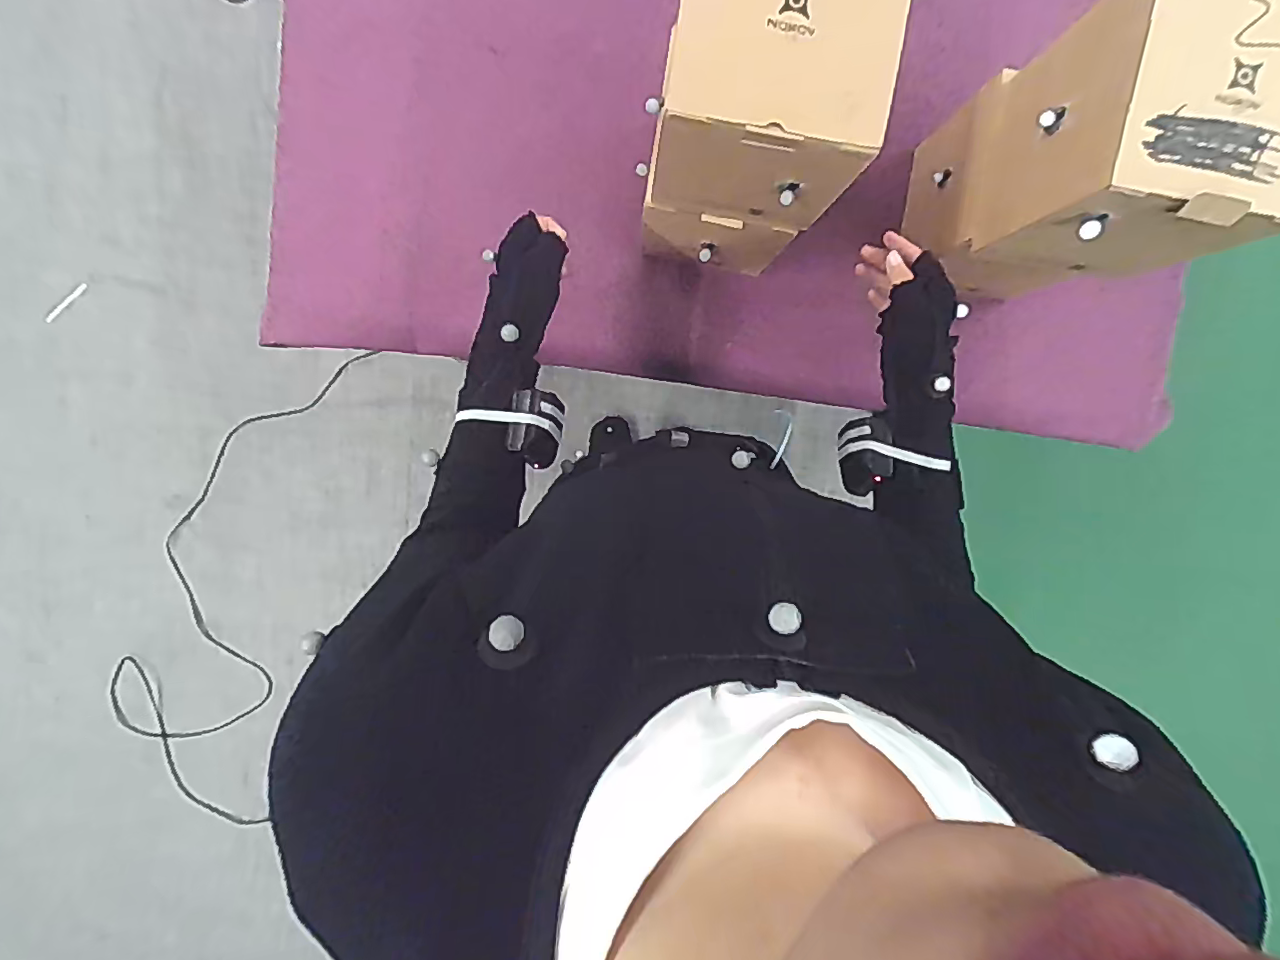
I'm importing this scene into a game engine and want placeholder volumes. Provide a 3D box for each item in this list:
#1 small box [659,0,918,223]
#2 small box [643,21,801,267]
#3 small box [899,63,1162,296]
[{"bbox_3d":[0.111,-0.345,0.462,0.168,0.176,0.179,9,96,-4],"label":"small box"},{"bbox_3d":[0.098,-0.363,0.624,0.168,0.176,0.179,9,97,-4],"label":"small box"},{"bbox_3d":[0.438,-0.332,0.640,0.168,0.176,0.179,10,96,-5],"label":"small box"}]
